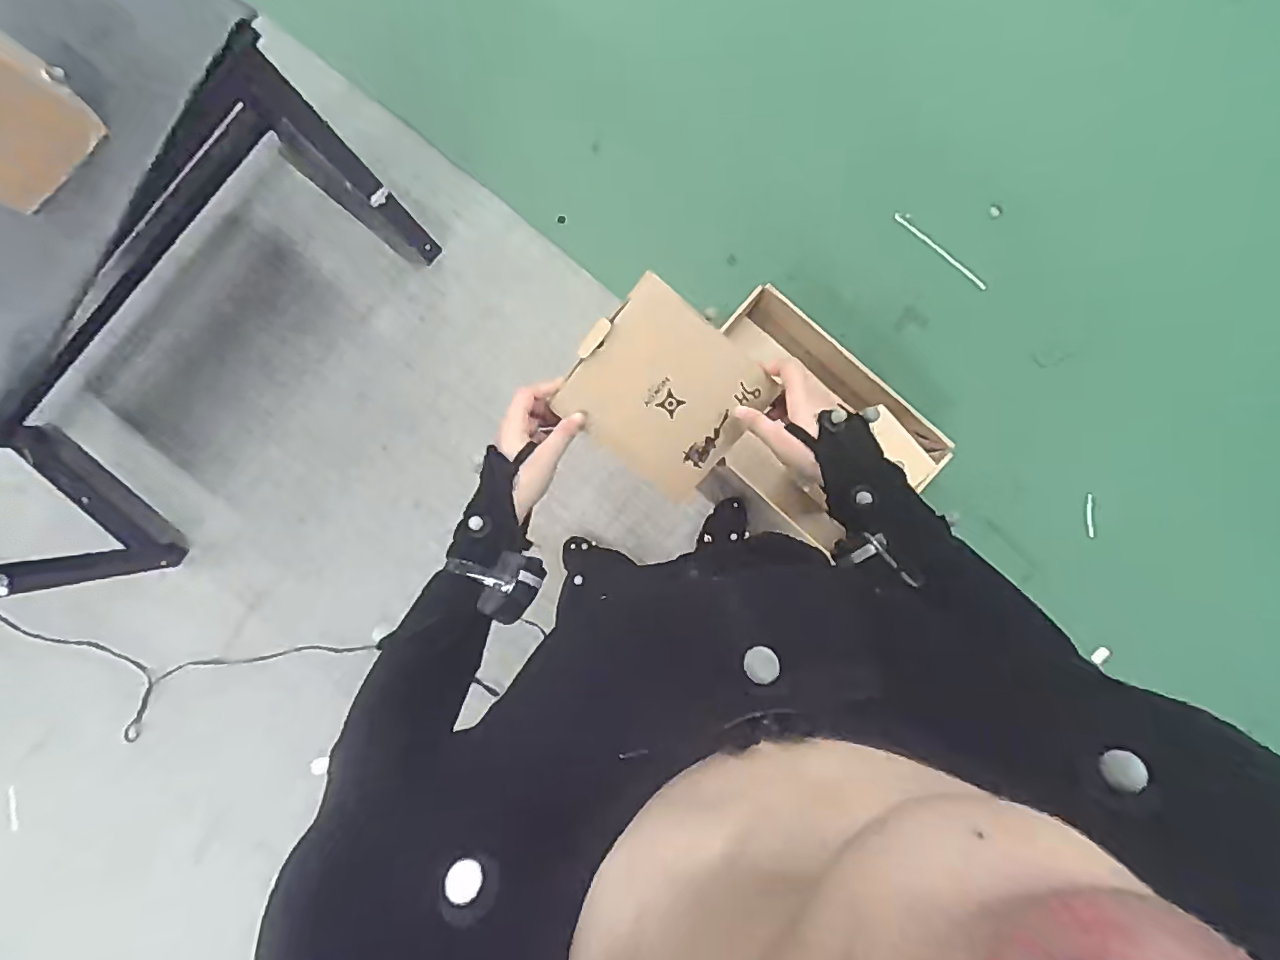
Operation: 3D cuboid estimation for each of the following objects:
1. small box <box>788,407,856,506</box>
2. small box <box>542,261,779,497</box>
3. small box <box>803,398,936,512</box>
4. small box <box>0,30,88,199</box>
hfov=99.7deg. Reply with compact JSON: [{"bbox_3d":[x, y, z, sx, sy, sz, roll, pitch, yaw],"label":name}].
[{"bbox_3d":[0.494,-0.057,1.337,0.179,0.176,0.168,-42,88,3],"label":"small box"},{"bbox_3d":[0.018,-0.116,0.600,0.179,0.176,0.168,37,107,-15],"label":"small box"},{"bbox_3d":[0.486,-0.053,1.173,0.168,0.176,0.179,-41,88,1],"label":"small box"},{"bbox_3d":[-0.888,-0.507,0.688,0.168,0.176,0.179,43,90,1],"label":"small box"}]
